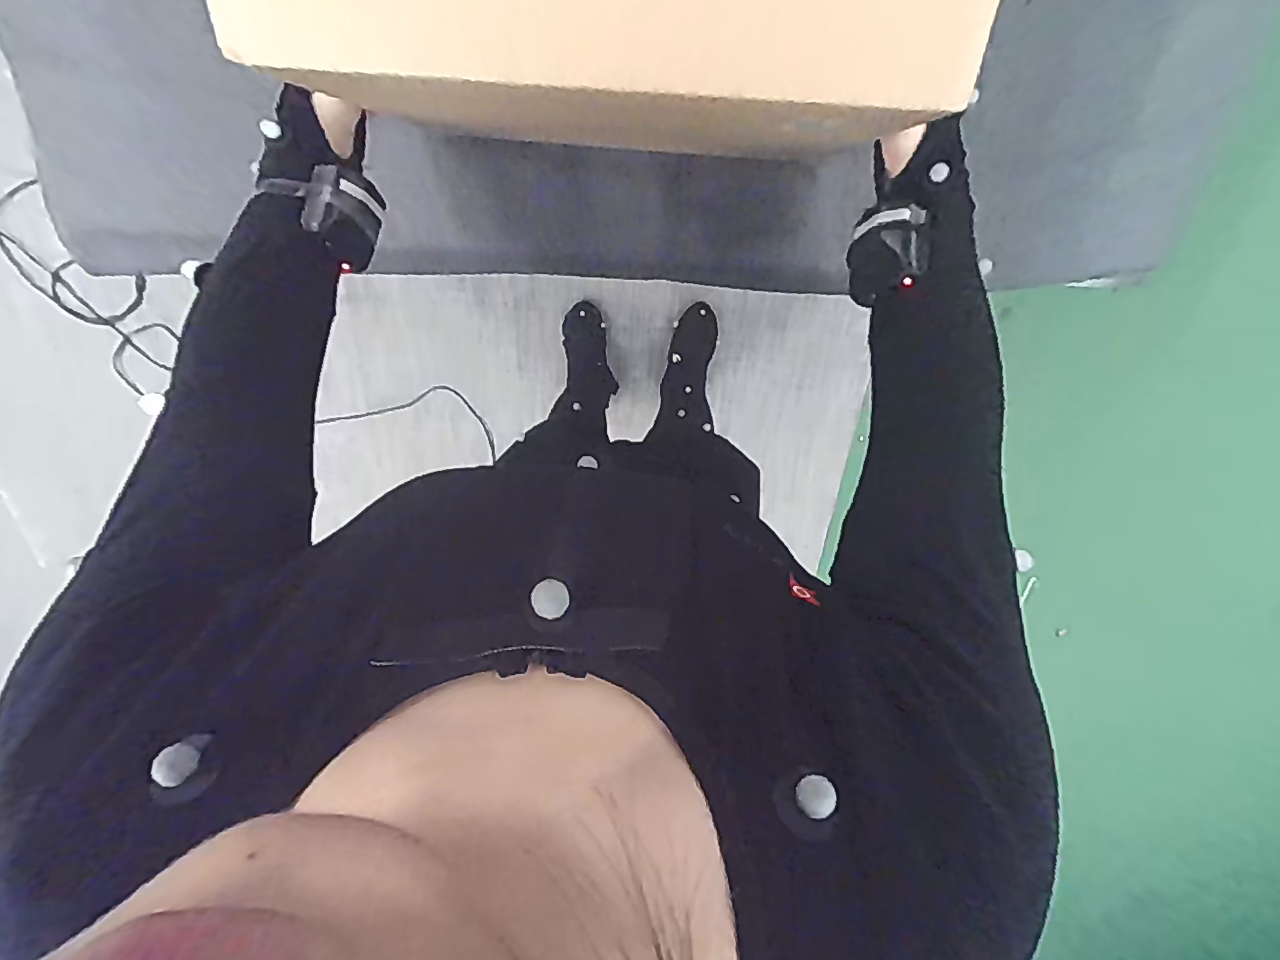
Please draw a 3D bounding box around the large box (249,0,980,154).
[{"bbox_3d":[-0.009,-0.427,0.376,0.408,0.320,0.320,3,117,0],"label":"large box"}]
